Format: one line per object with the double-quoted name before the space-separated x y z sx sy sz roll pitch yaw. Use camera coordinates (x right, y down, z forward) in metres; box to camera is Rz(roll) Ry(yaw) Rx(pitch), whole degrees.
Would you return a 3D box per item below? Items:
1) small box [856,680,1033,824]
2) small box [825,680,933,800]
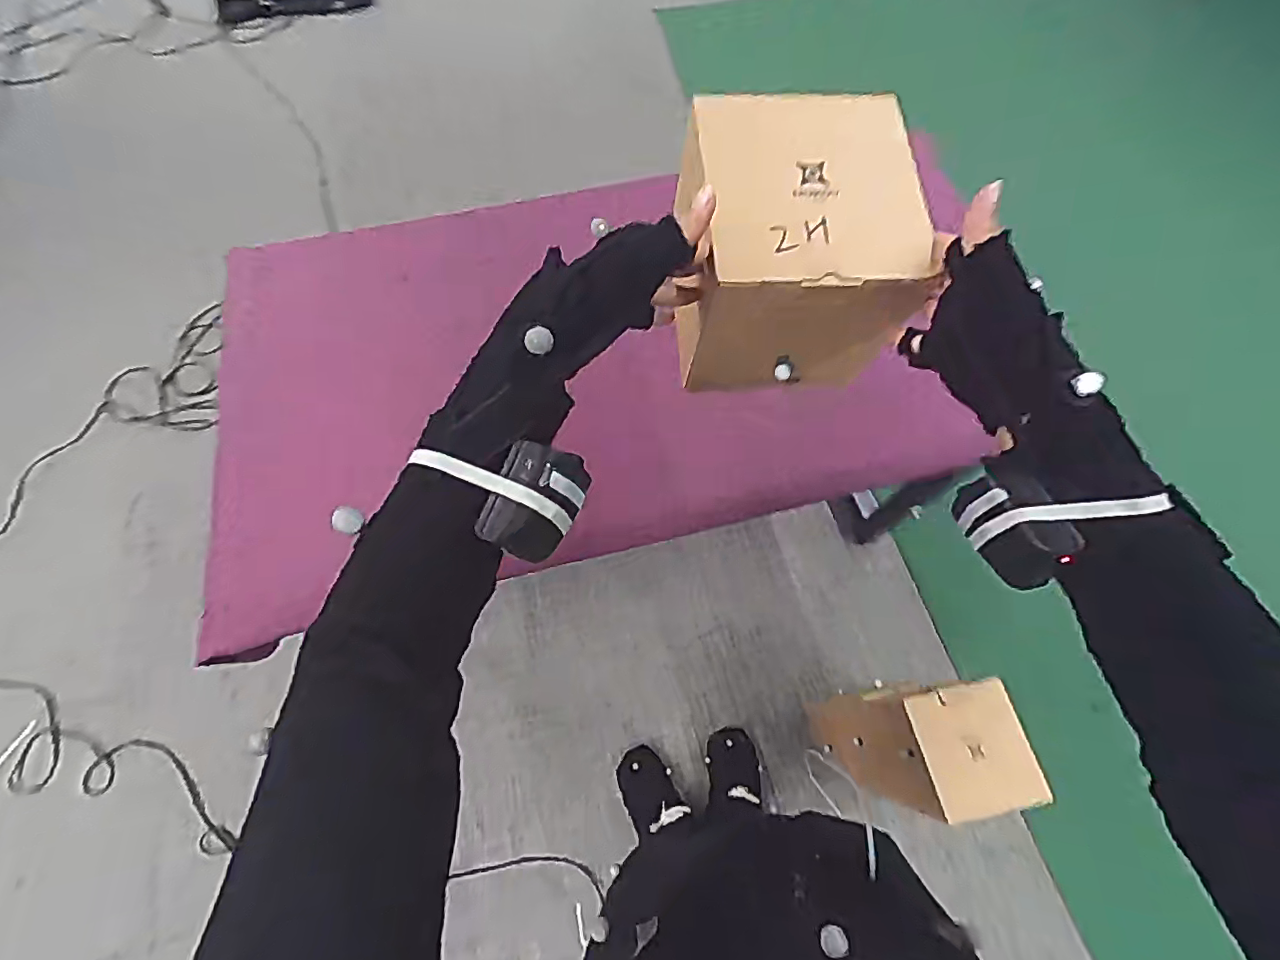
"small box" 0.491 0.443 0.904 0.168 0.176 0.179 -11 67 -5
"small box" 0.486 0.499 1.056 0.168 0.176 0.179 -10 67 -4
